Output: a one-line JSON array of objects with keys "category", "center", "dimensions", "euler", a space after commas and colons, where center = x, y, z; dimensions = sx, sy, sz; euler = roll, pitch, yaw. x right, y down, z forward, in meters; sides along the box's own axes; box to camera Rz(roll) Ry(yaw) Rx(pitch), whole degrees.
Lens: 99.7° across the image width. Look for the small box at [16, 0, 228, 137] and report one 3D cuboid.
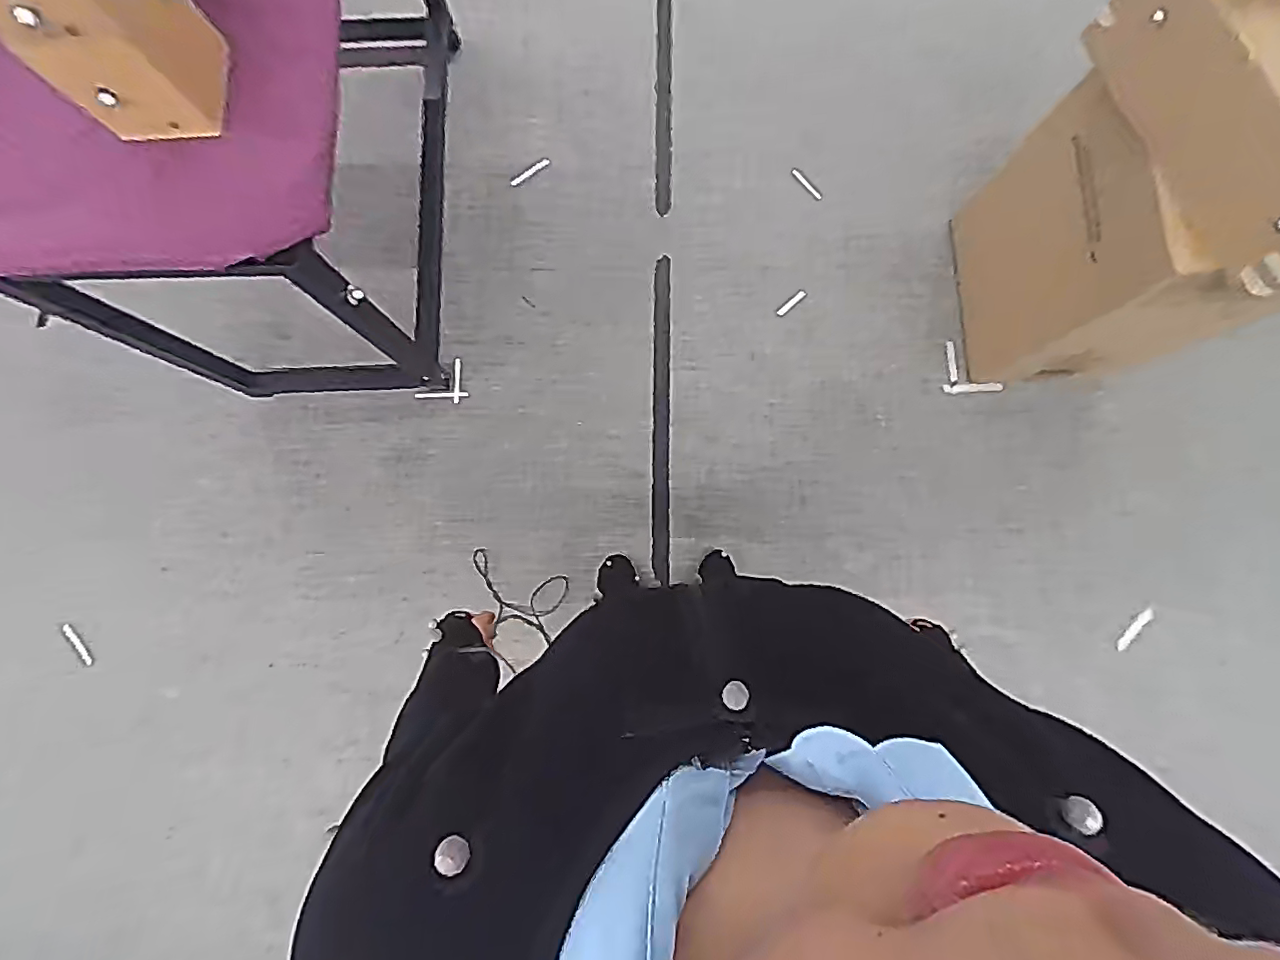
[{"category": "small box", "center": [-0.772, -0.655, 0.825], "dimensions": [0.168, 0.176, 0.179], "euler": [-4, 81, 0]}]
